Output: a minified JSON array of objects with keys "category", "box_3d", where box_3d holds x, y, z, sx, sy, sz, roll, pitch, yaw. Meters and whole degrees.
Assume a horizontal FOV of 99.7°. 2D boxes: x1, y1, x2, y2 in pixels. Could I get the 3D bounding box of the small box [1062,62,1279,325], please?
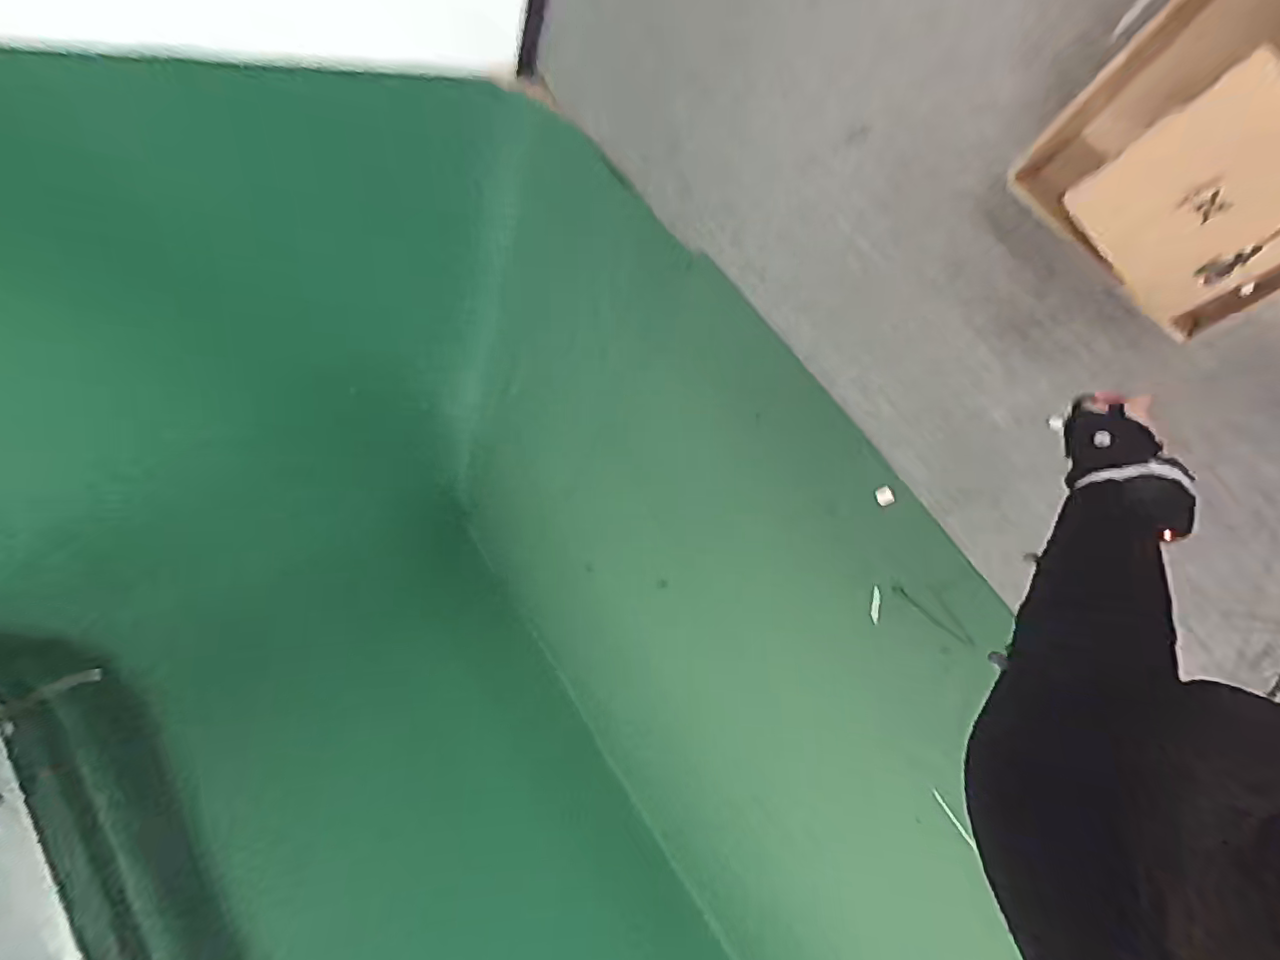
[{"category":"small box","box_3d":[0.611,-0.296,0.582,0.179,0.176,0.168,60,144,8]}]
